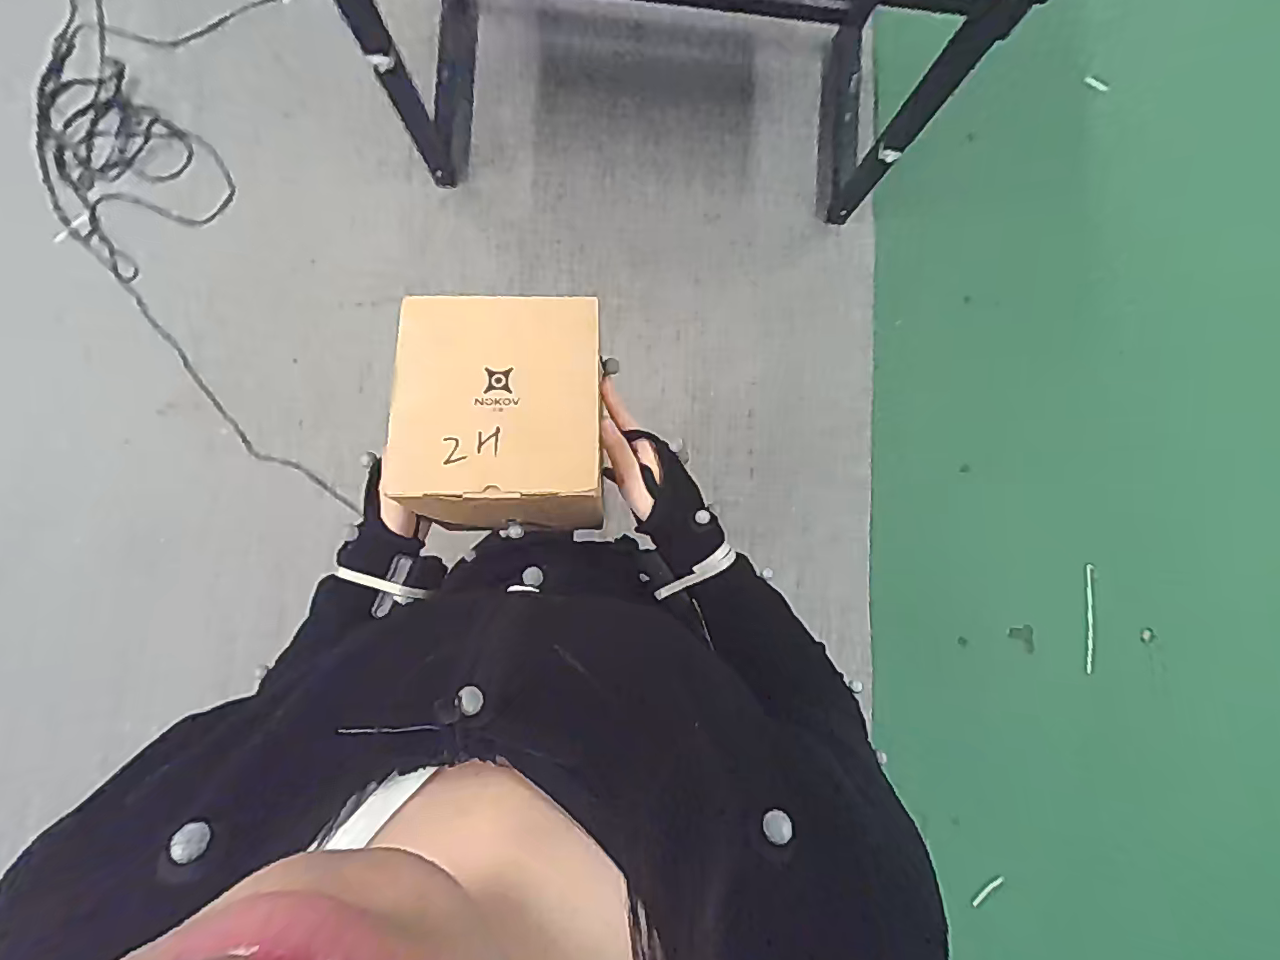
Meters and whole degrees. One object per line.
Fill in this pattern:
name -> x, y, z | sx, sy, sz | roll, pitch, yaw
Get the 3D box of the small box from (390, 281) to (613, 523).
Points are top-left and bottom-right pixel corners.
small box -> -0.111, -0.061, 0.507 | 0.168, 0.176, 0.179 | 0, 76, -2
